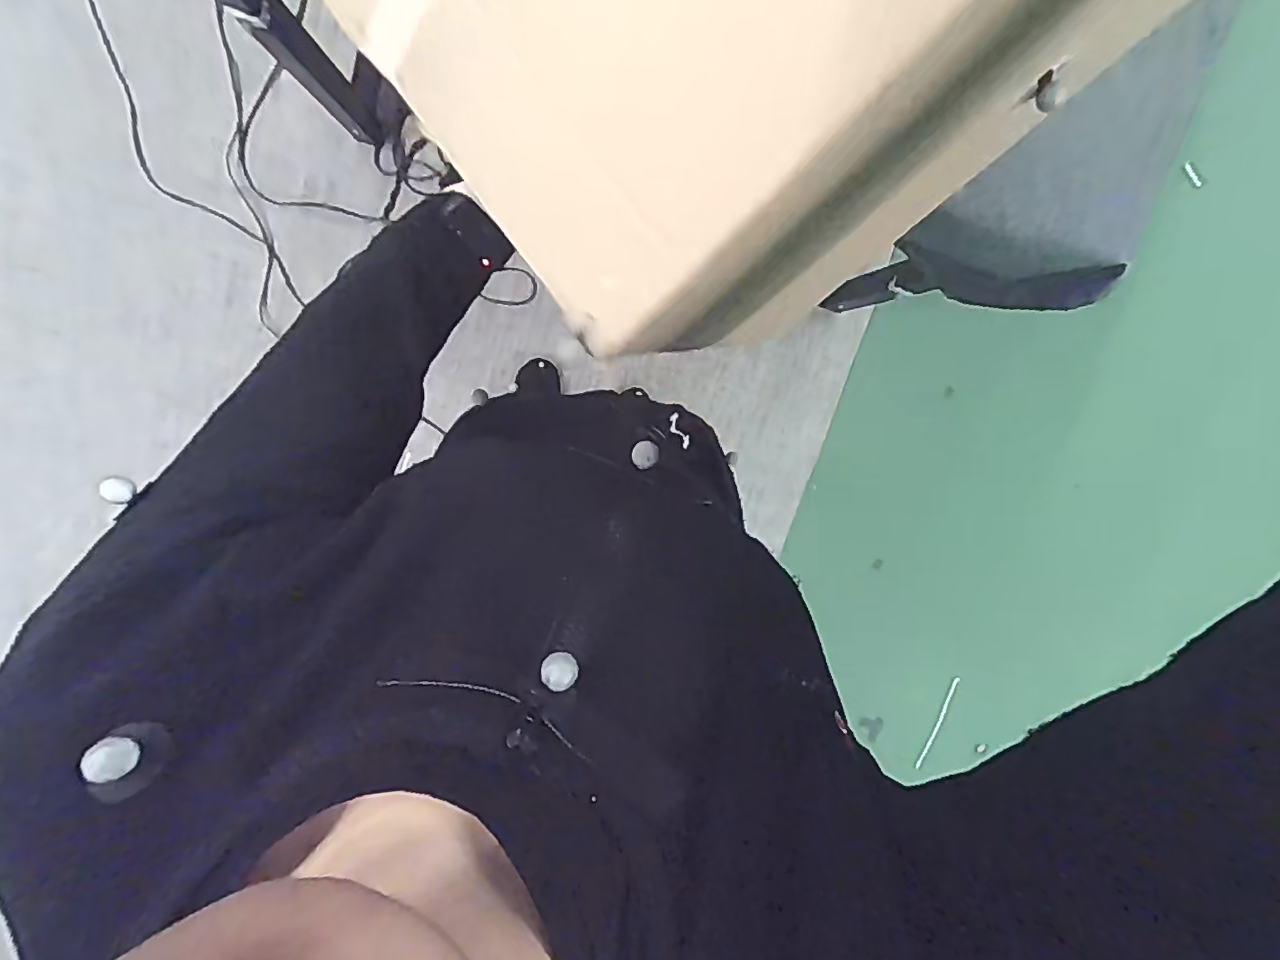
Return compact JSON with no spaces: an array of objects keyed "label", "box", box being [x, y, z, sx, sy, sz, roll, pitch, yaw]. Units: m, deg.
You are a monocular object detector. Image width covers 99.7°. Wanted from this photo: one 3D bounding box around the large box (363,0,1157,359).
[{"label":"large box","box":[0.107,-0.325,0.279,0.408,0.320,0.320,-40,85,31]}]
